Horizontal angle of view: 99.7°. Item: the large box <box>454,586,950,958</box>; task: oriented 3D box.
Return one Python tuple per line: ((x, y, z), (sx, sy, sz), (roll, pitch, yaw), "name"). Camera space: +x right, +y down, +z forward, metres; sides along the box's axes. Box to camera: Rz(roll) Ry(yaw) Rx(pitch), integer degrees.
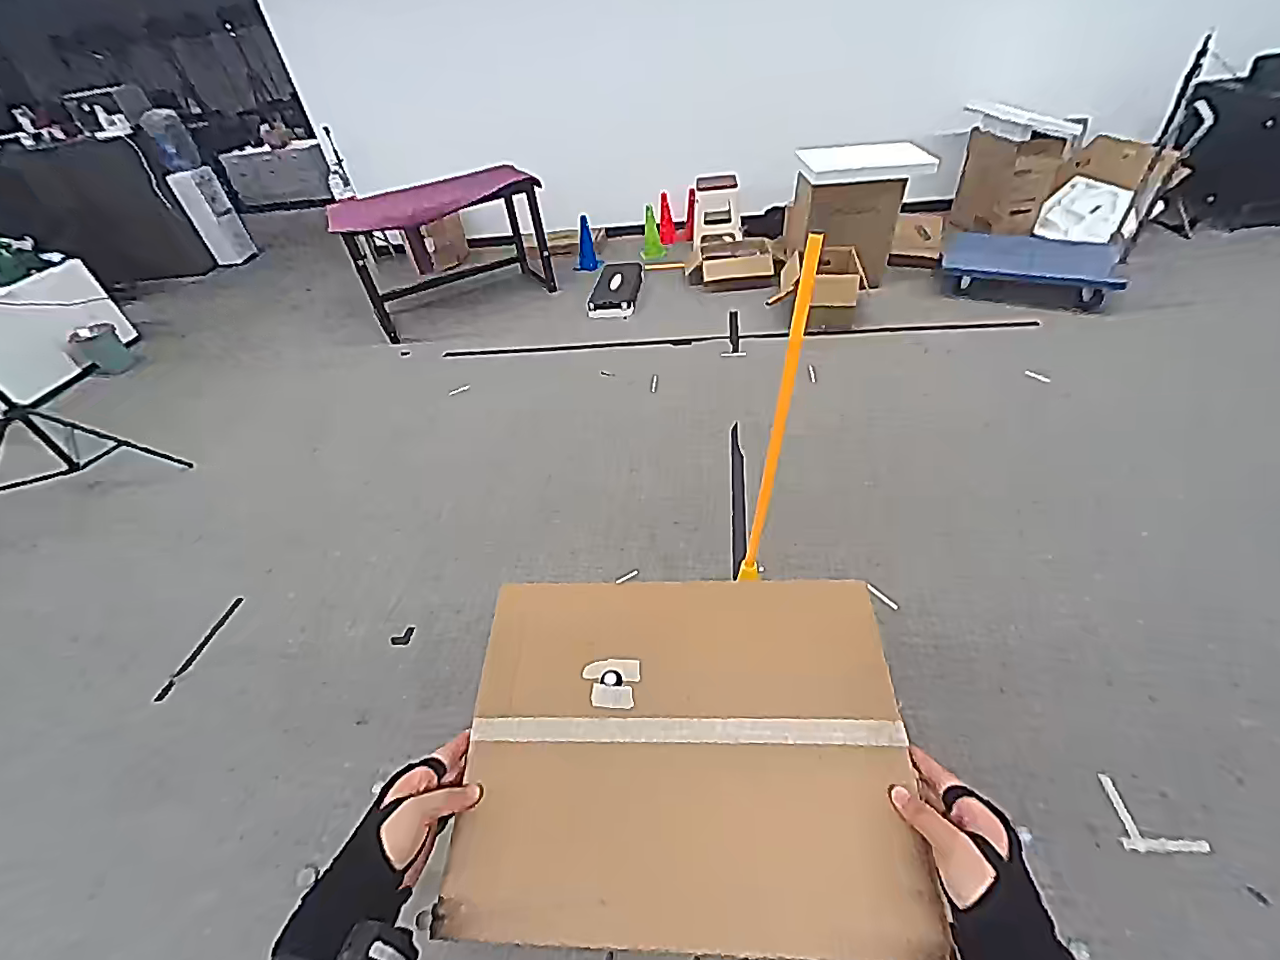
((0.061, 0.340, 0.636), (0.408, 0.320, 0.320), (-3, 51, 6), "large box")
